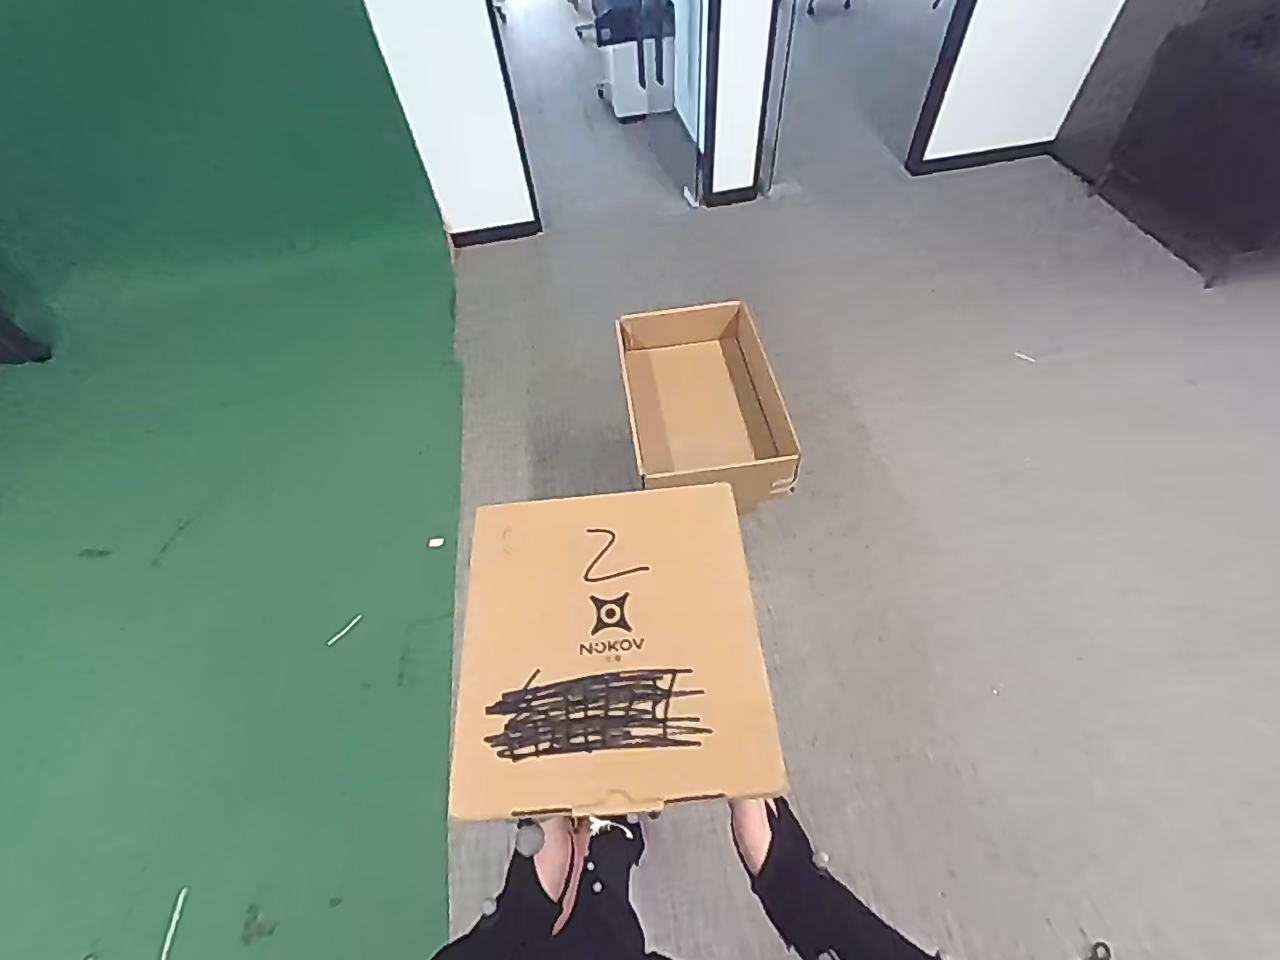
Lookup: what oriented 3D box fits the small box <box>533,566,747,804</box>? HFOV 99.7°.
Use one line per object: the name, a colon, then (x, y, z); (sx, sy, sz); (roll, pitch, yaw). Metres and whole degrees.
small box: (-0.003, 0.202, 0.519); (0.168, 0.176, 0.179); (-7, 59, 0)
